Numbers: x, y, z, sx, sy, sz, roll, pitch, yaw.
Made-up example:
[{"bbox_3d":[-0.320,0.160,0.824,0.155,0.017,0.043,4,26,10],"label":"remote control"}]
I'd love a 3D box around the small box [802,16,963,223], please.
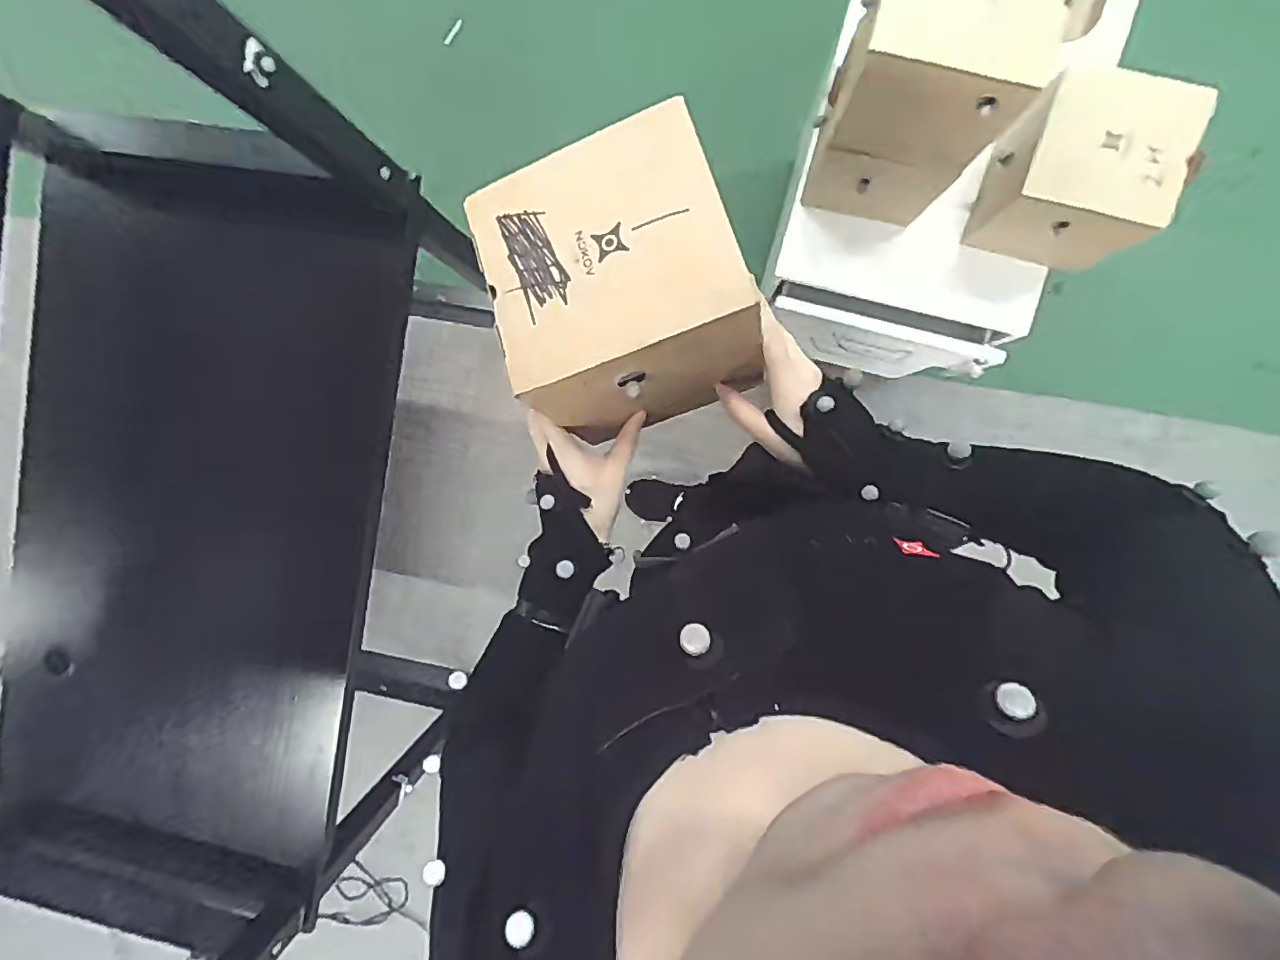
[{"bbox_3d":[0.338,-0.480,0.745,0.179,0.176,0.168,14,95,5],"label":"small box"}]

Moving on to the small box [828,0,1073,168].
[{"bbox_3d":[0.323,-0.471,0.582,0.179,0.176,0.168,15,95,3],"label":"small box"}]

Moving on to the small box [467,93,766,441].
[{"bbox_3d":[-0.006,-0.145,0.436,0.179,0.176,0.168,-19,78,10],"label":"small box"}]

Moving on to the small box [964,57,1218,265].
[{"bbox_3d":[0.576,-0.408,0.722,0.179,0.176,0.168,17,96,5],"label":"small box"}]
